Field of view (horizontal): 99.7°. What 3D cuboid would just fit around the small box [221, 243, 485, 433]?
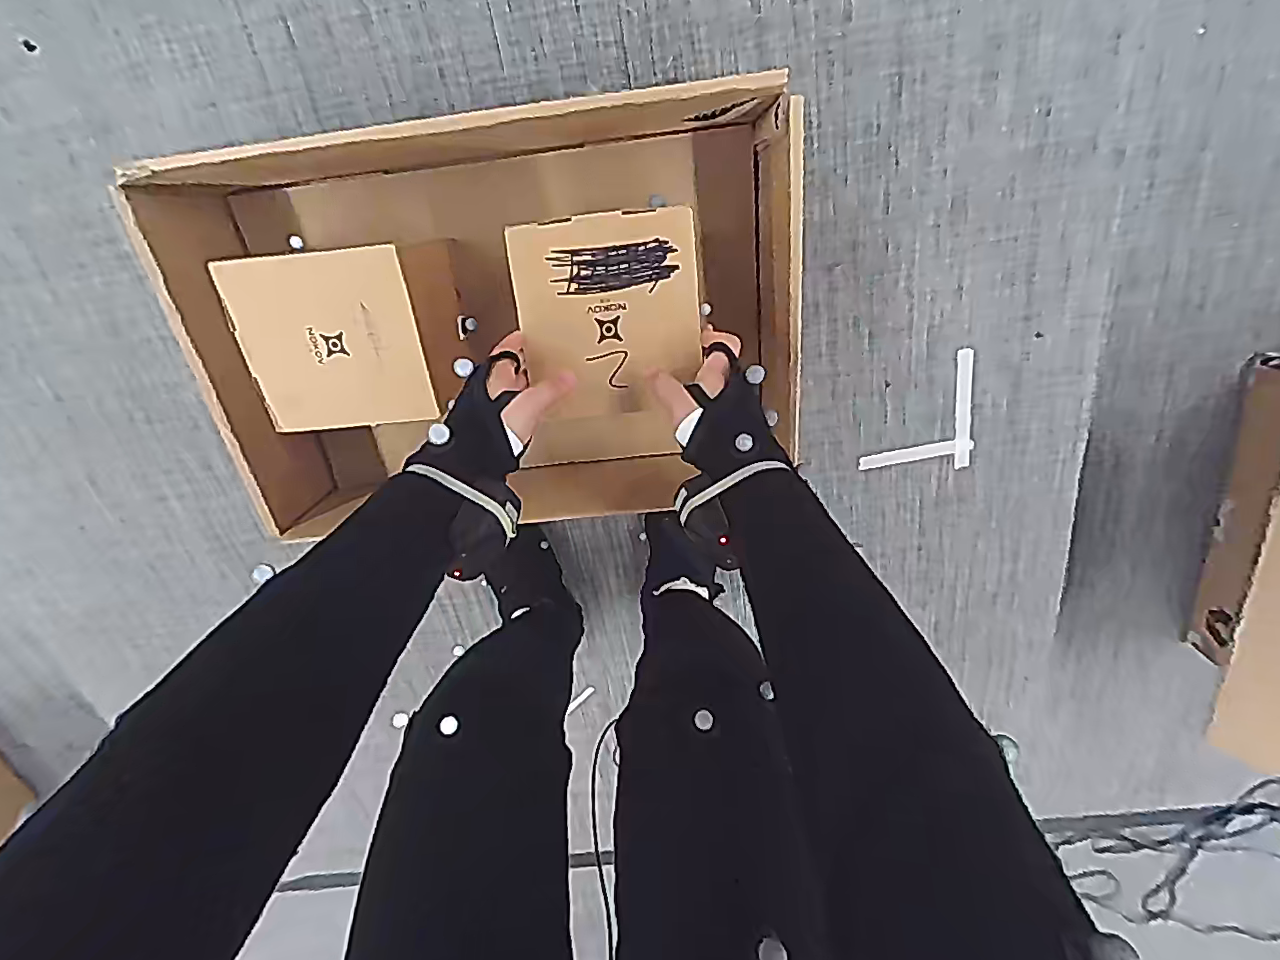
[{"bbox_3d":[-0.291,-0.163,0.596,0.179,0.176,0.168,-5,117,2],"label":"small box"}]
